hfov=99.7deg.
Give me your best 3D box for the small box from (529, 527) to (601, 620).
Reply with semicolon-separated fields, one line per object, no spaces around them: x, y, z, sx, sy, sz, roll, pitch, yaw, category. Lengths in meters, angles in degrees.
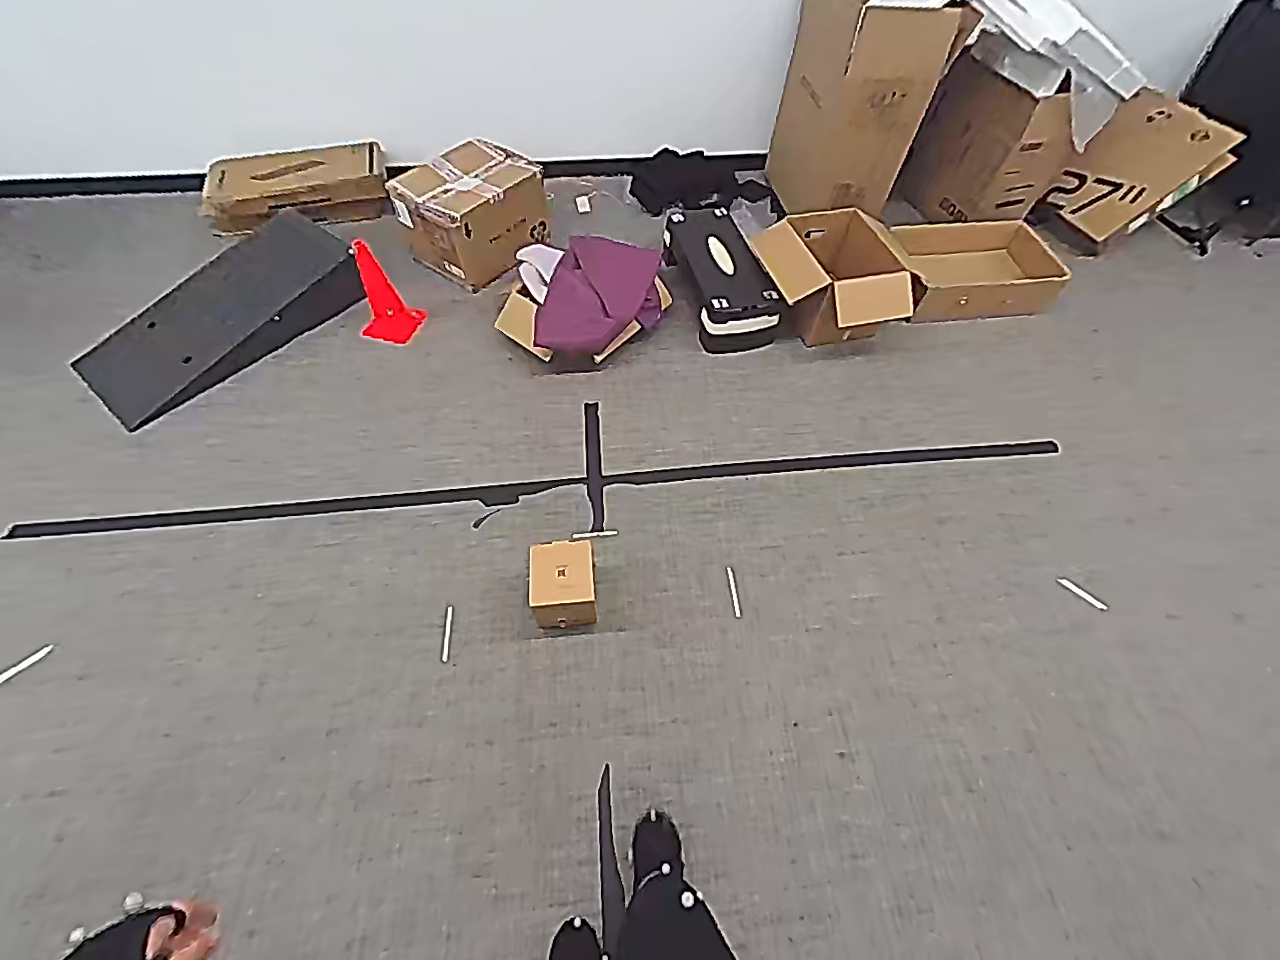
-0.190;0.242;1.387;0.168;0.176;0.179;-6;58;-4;small box
